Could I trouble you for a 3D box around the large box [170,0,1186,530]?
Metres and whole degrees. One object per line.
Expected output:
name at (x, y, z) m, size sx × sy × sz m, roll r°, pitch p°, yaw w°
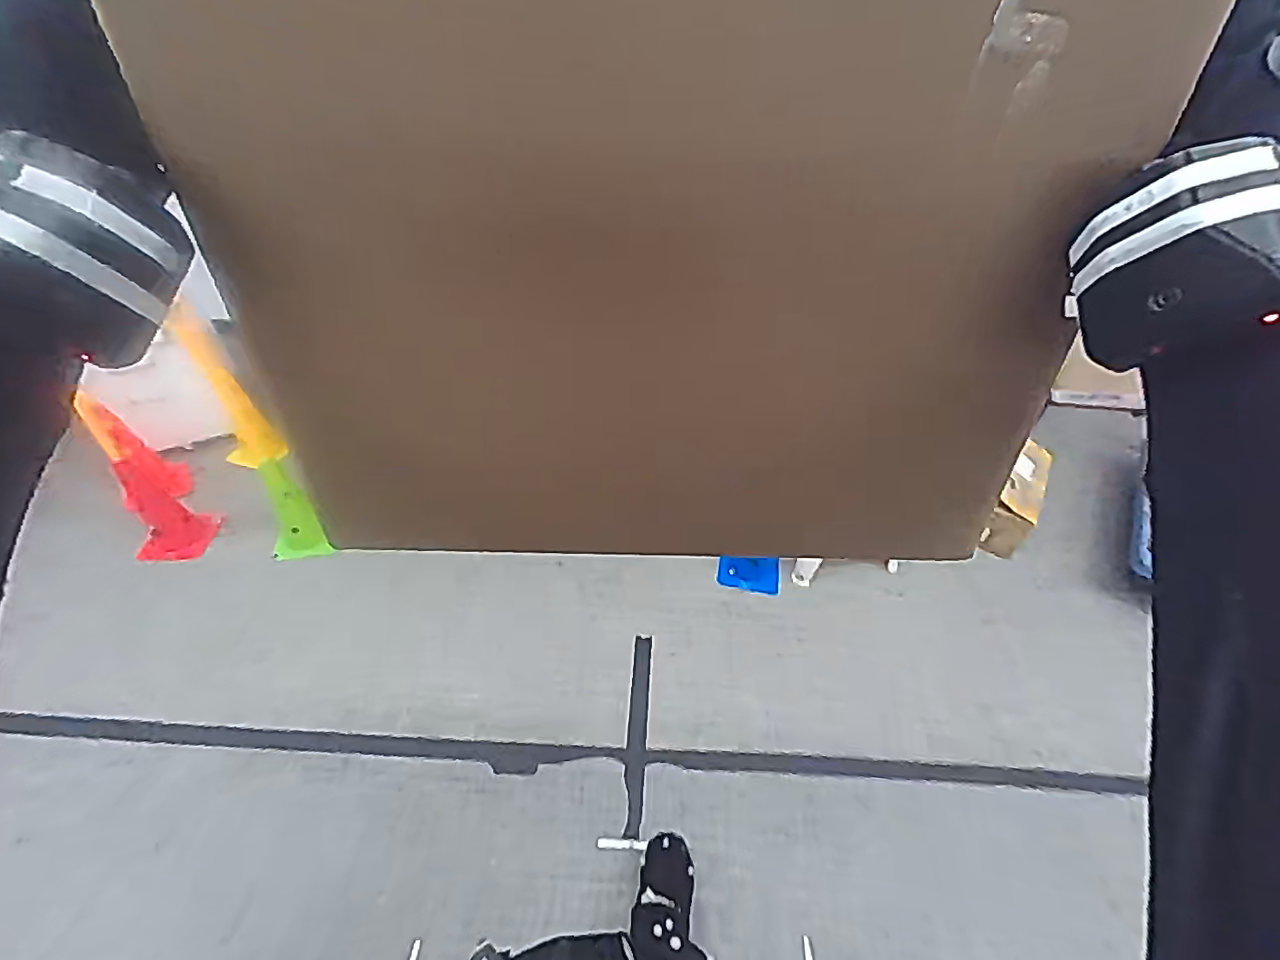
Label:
large box at (0.011, -0.175, 0.391) m, size 0.408 × 0.320 × 0.320 m, roll 1°, pitch 35°, yaw 0°
